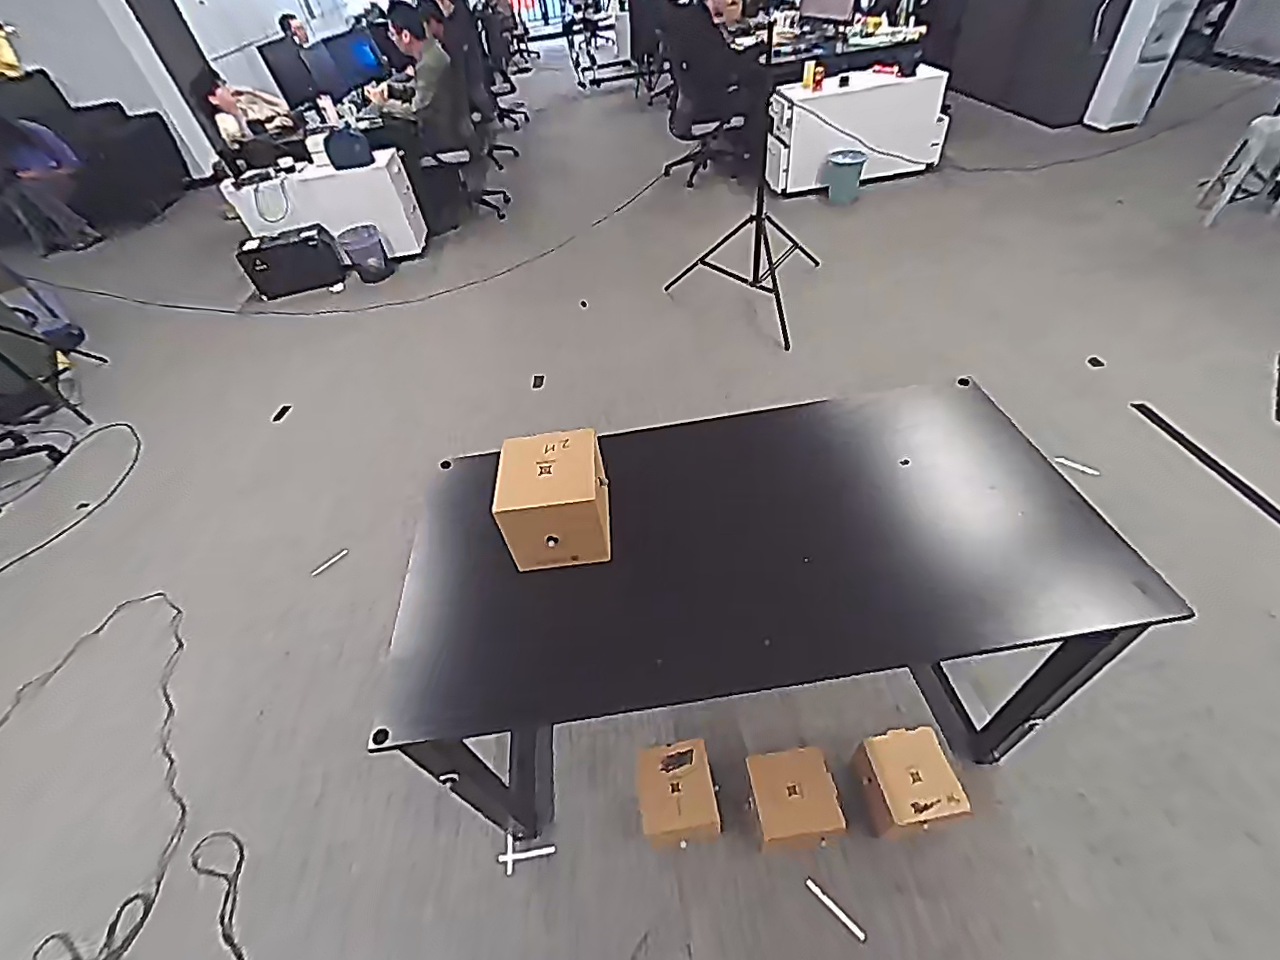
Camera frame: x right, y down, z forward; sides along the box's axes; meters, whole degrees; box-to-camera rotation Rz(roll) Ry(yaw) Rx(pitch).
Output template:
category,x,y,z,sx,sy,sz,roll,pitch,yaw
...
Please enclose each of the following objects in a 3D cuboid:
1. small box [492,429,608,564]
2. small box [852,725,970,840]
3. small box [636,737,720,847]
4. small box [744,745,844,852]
category,x,y,z,sx,sy,sz,roll,pitch,yaw
small box,-0.150,0.036,0.963,0.168,0.176,0.179,-7,45,1
small box,0.603,0.691,1.234,0.168,0.176,0.179,-11,45,0
small box,0.088,0.735,1.272,0.168,0.176,0.179,-10,47,-1
small box,0.343,0.731,1.239,0.179,0.176,0.168,-10,45,1
